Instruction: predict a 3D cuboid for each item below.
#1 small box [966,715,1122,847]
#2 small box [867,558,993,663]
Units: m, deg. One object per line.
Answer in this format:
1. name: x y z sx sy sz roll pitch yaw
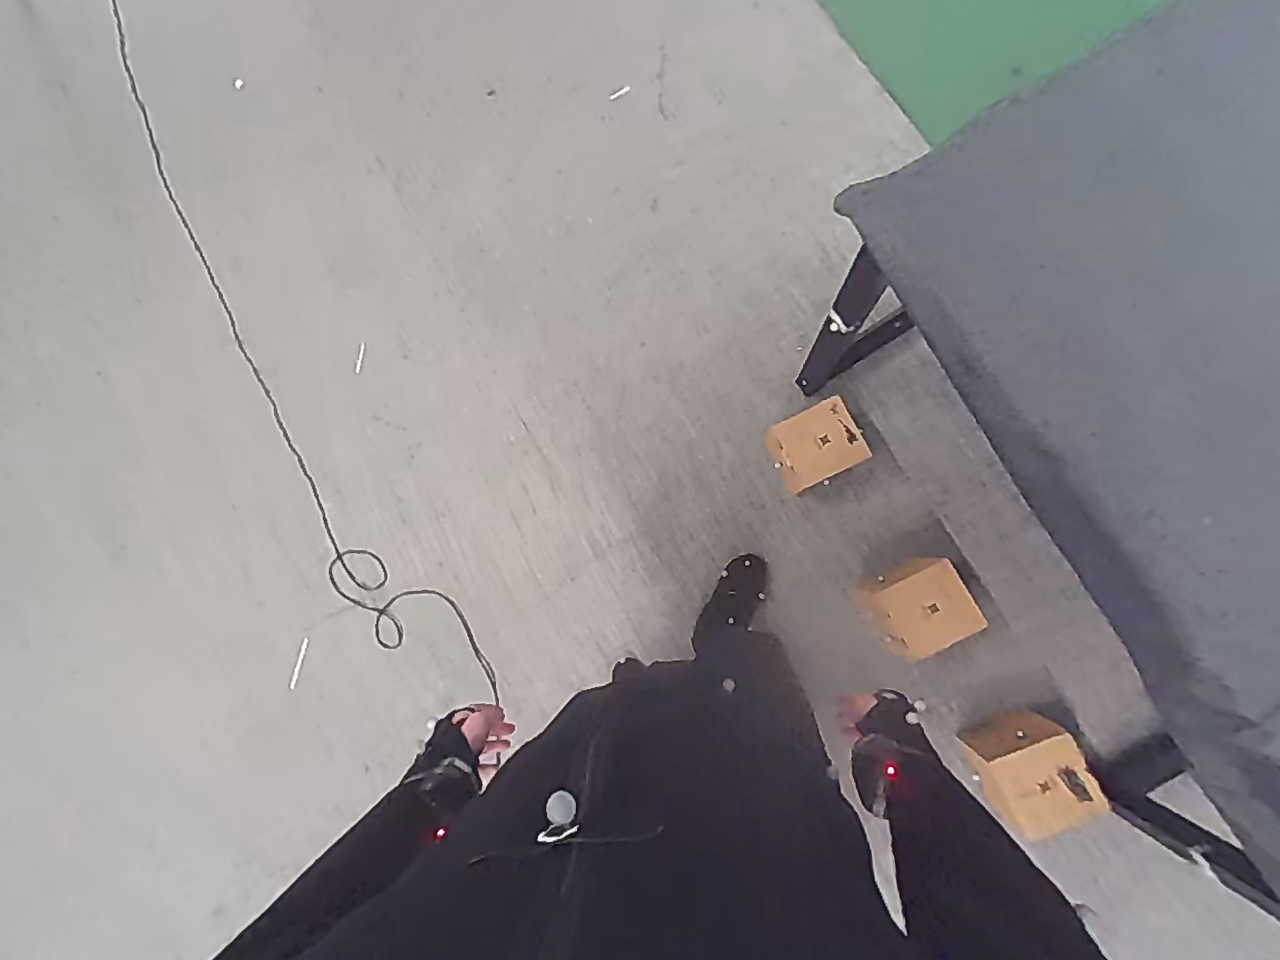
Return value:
1. small box: 0.848 0.631 1.157 0.179 0.176 0.168 -26 79 6
2. small box: 0.647 0.292 1.238 0.179 0.176 0.168 -29 80 2
